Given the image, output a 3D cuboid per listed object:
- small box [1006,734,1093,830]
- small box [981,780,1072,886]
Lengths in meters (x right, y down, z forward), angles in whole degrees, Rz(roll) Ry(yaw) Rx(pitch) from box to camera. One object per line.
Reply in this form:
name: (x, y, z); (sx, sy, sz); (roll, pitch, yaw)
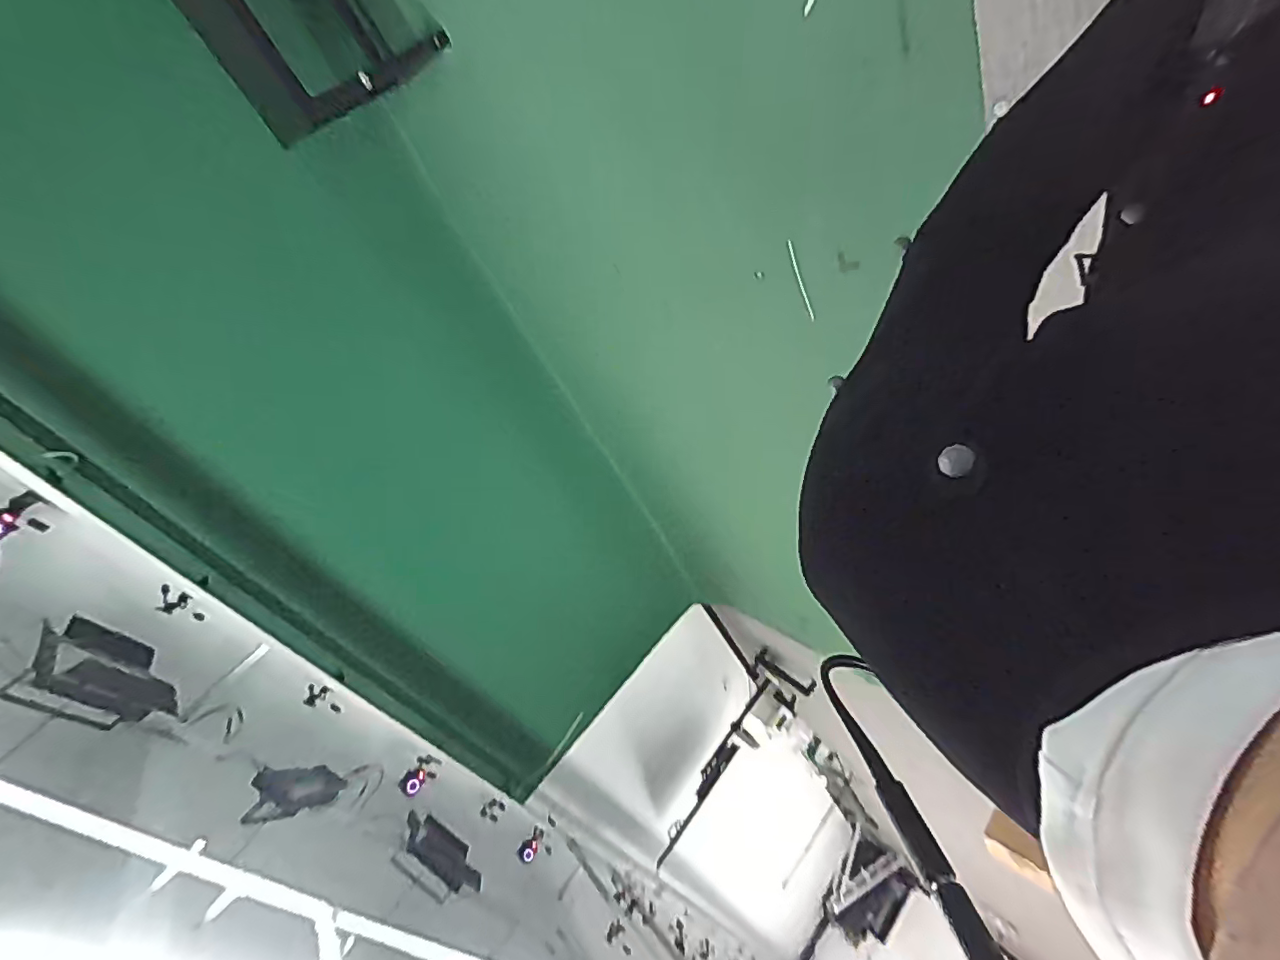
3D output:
small box: (1.224, 0.903, 1.615); (0.168, 0.176, 0.179); (18, 148, 49)
small box: (1.110, 1.001, 1.548); (0.168, 0.176, 0.179); (16, 148, 51)
